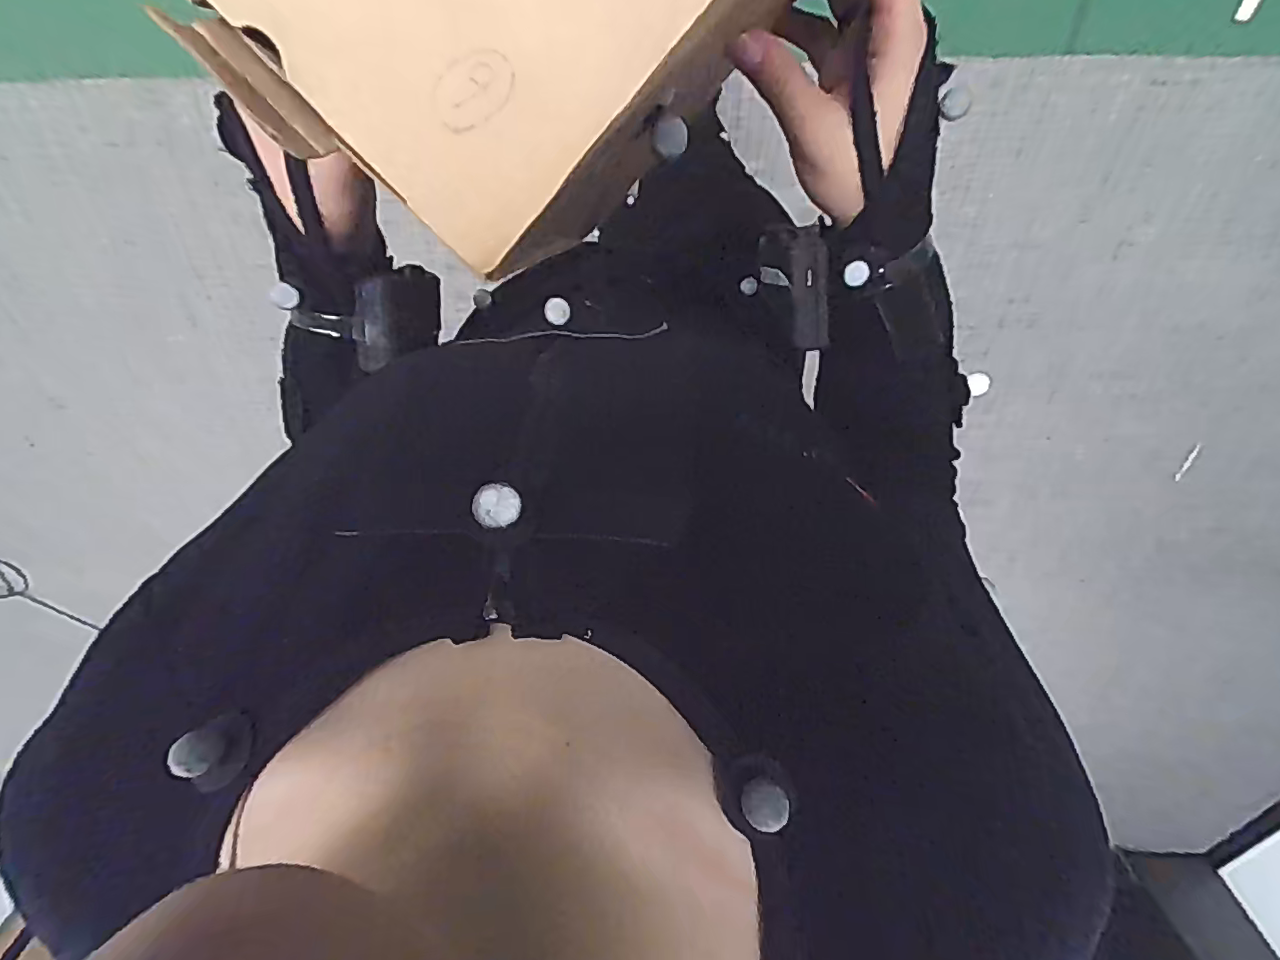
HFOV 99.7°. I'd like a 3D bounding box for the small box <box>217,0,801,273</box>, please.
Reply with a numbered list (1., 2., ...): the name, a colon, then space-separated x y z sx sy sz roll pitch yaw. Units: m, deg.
1. small box: -0.034 -0.210 0.204 0.179 0.176 0.168 -40 108 23
